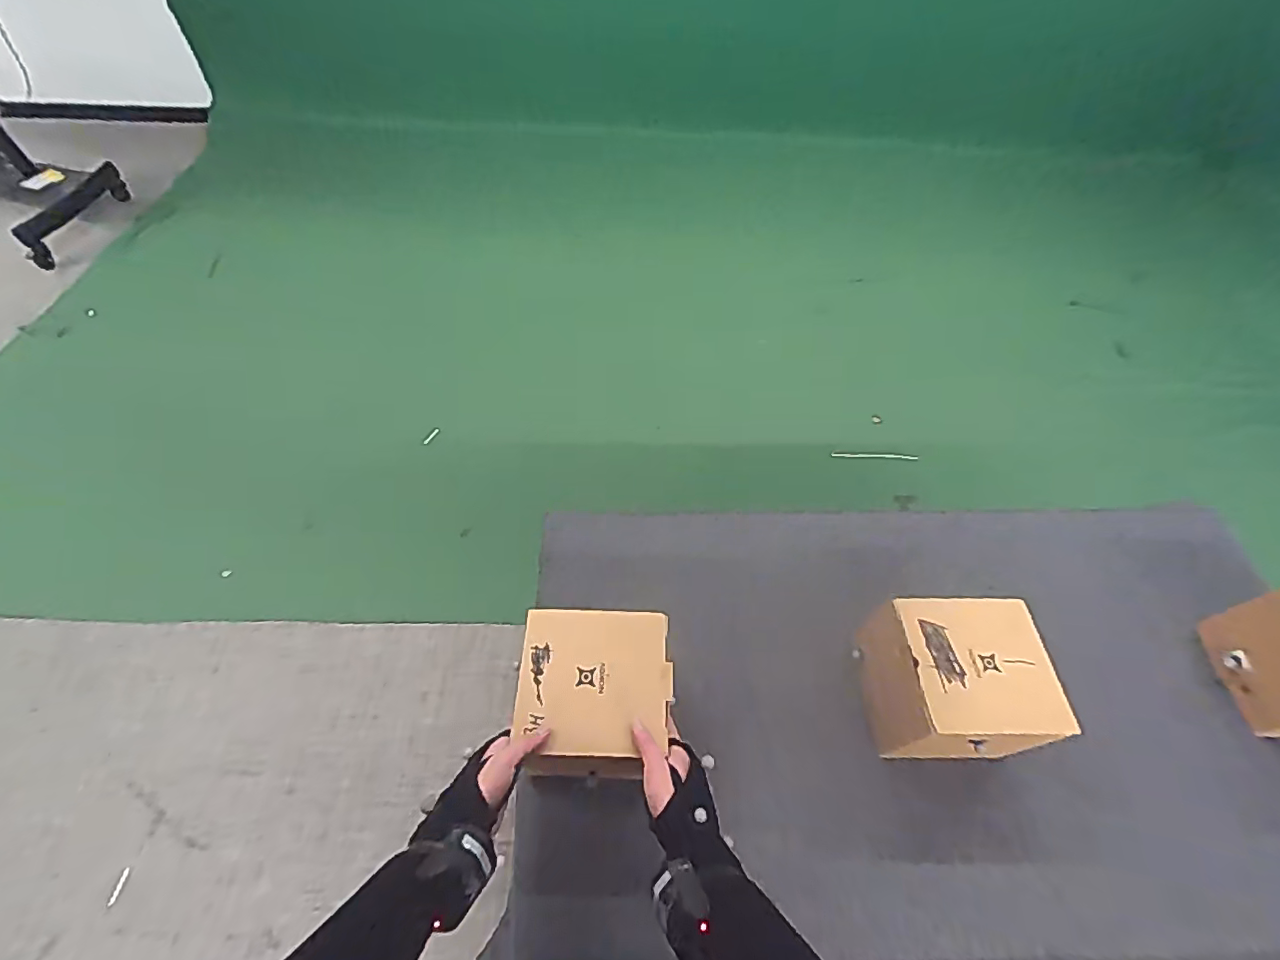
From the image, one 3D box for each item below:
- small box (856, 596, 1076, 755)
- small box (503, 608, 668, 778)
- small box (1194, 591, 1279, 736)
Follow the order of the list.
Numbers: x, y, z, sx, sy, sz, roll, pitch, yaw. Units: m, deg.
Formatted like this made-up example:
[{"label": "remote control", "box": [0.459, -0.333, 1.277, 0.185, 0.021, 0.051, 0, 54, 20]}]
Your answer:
[{"label": "small box", "box": [0.407, 0.265, 0.721, 0.179, 0.176, 0.168, 1, 55, -2]}, {"label": "small box", "box": [-0.061, 0.275, 0.686, 0.179, 0.176, 0.168, 3, 55, -1]}, {"label": "small box", "box": [0.958, 0.253, 0.749, 0.179, 0.176, 0.168, 1, 54, 0]}]
